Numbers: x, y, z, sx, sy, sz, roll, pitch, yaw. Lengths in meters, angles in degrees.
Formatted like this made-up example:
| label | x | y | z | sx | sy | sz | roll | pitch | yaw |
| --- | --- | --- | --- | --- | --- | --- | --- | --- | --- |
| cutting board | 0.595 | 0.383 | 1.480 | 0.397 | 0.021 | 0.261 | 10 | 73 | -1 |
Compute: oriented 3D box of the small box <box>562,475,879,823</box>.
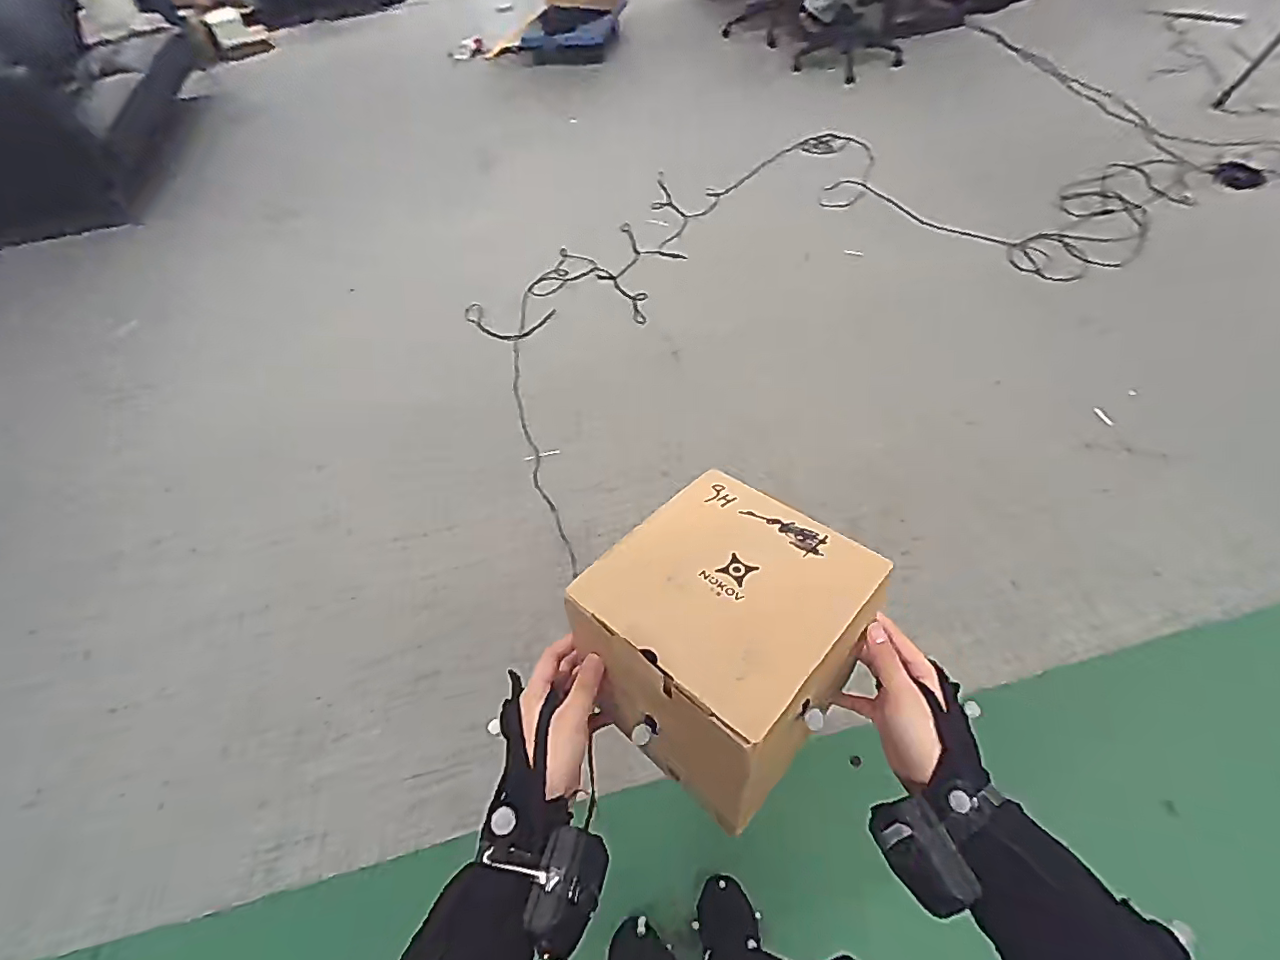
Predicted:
| label | x | y | z | sx | sy | sz | roll | pitch | yaw |
| --- | --- | --- | --- | --- | --- | --- | --- | --- | --- |
| small box | 0.065 | 0.134 | 0.444 | 0.168 | 0.176 | 0.179 | 30 | 53 | 33 |
